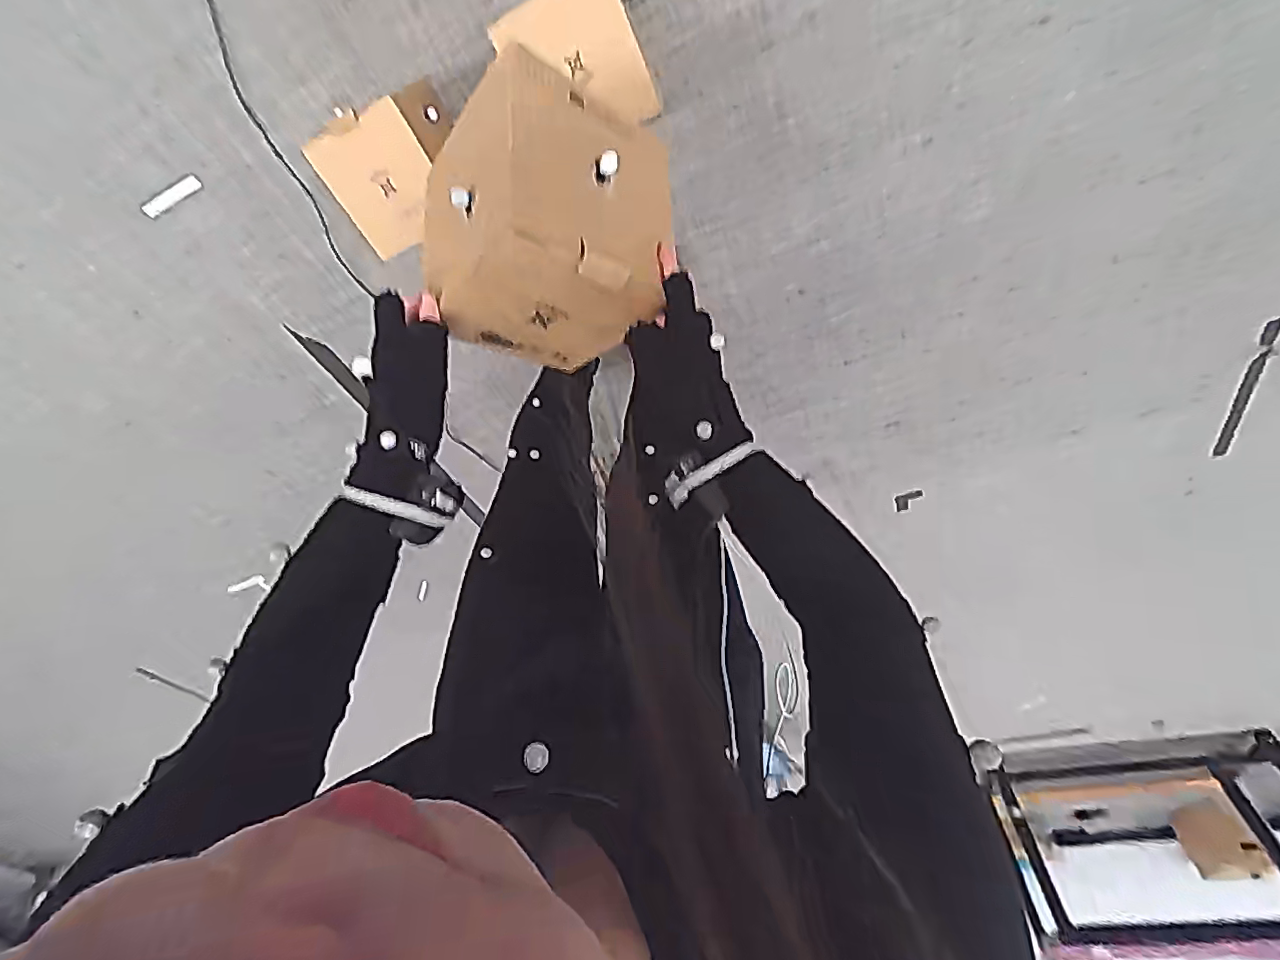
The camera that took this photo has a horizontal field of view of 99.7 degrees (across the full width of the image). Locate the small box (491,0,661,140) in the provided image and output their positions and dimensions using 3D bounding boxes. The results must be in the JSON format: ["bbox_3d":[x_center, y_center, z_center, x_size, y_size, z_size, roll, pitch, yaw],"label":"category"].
[{"bbox_3d":[-0.080,-0.579,0.763,0.168,0.176,0.179,-19,131,18],"label":"small box"}]

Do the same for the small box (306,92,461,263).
[{"bbox_3d":[-0.371,-0.485,0.860,0.168,0.176,0.179,-16,132,16],"label":"small box"}]

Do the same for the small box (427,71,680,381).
[{"bbox_3d":[-0.087,-0.214,0.500,0.168,0.176,0.179,7,163,-40],"label":"small box"}]
